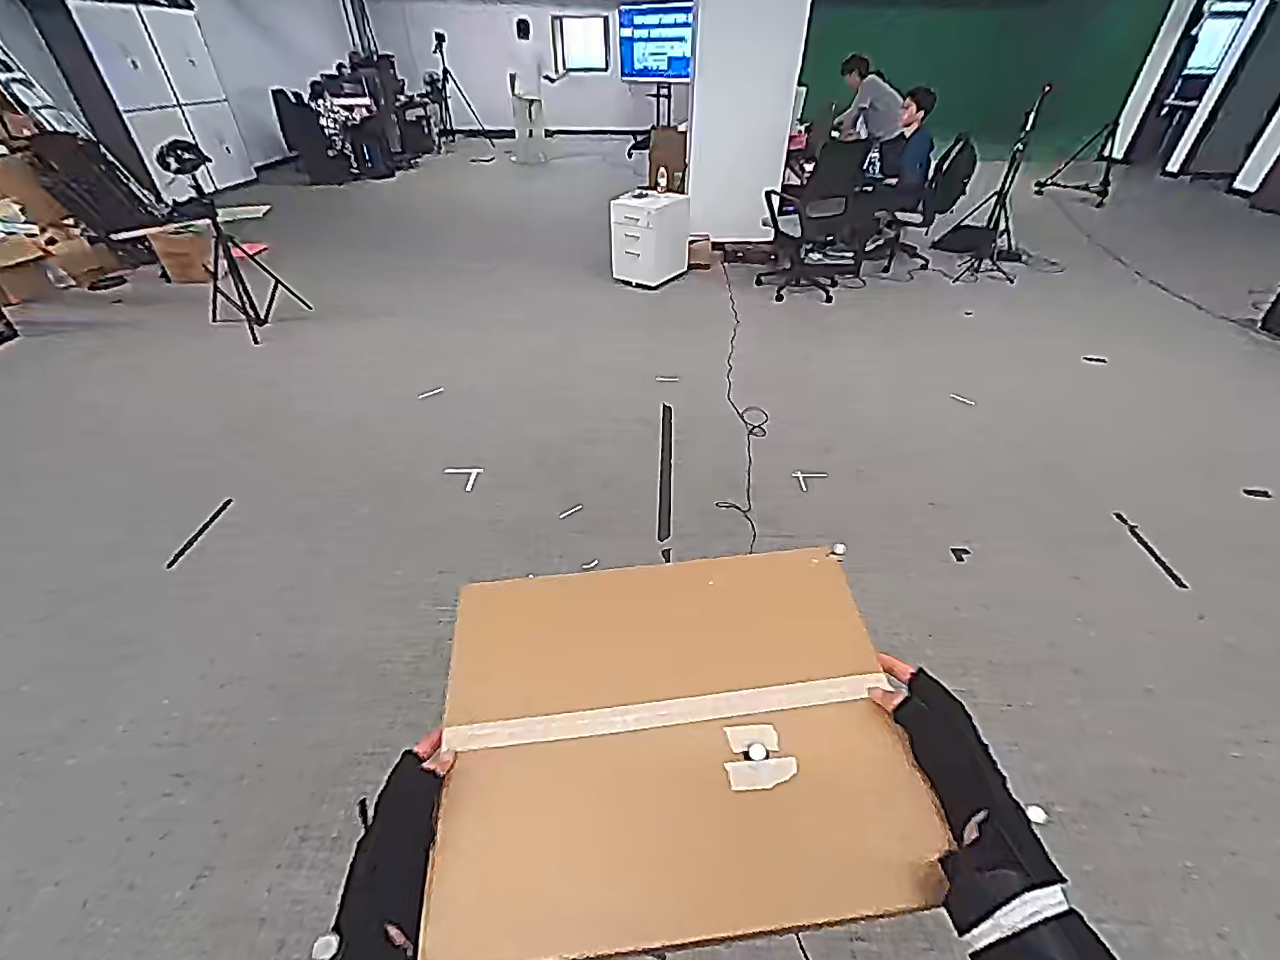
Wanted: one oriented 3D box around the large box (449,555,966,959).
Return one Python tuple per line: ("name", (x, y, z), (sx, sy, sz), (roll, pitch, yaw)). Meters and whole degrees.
("large box", (0.041, 0.314, 0.609), (0.408, 0.320, 0.320), (-4, 49, -3))
